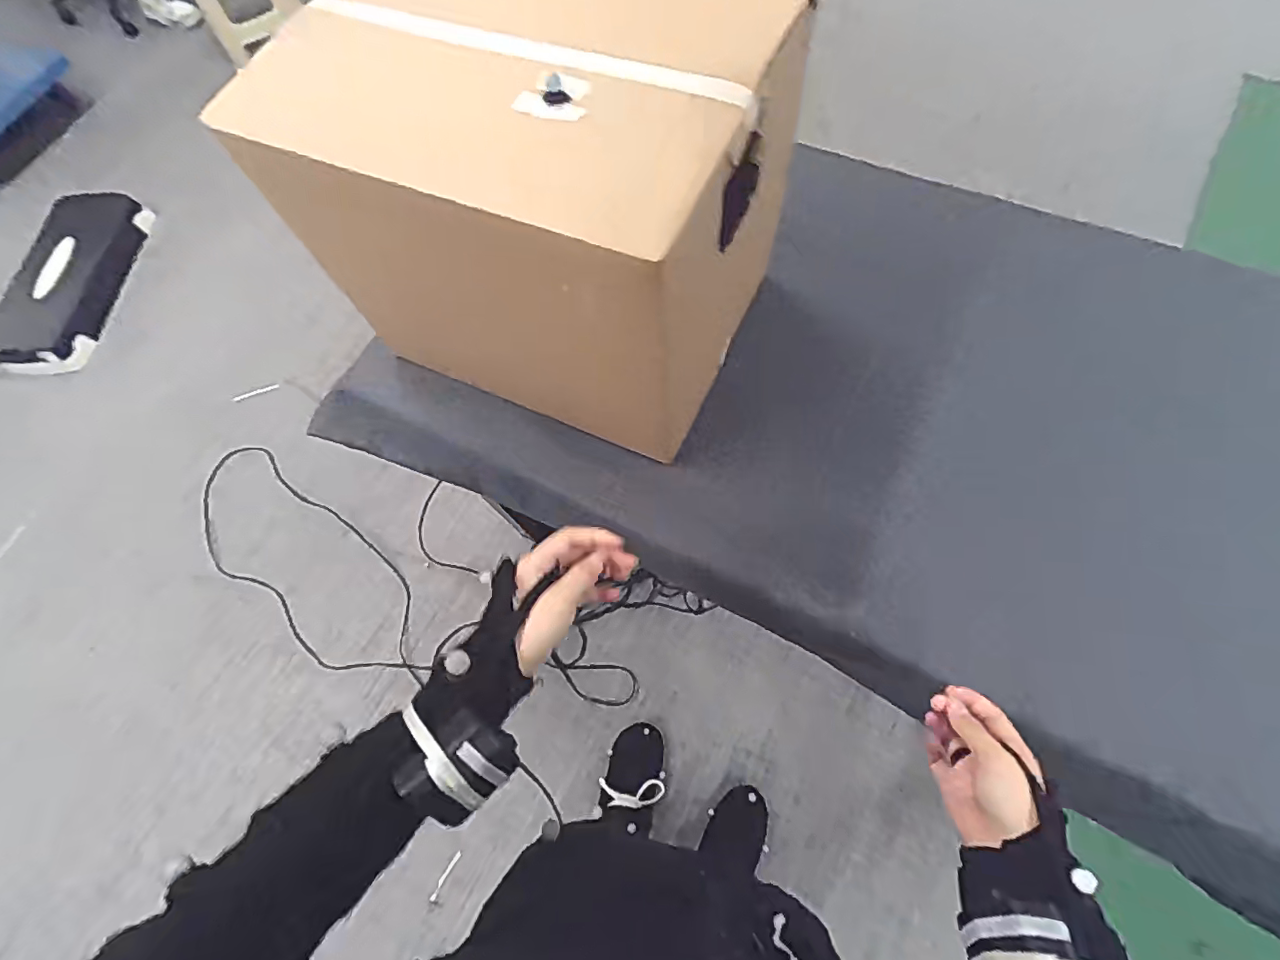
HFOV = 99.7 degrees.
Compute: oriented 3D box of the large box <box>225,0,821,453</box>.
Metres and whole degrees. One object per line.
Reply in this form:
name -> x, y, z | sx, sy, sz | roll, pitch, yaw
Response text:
large box -> -0.084, -0.281, 0.576 | 0.408, 0.320, 0.320 | 22, 71, 11
